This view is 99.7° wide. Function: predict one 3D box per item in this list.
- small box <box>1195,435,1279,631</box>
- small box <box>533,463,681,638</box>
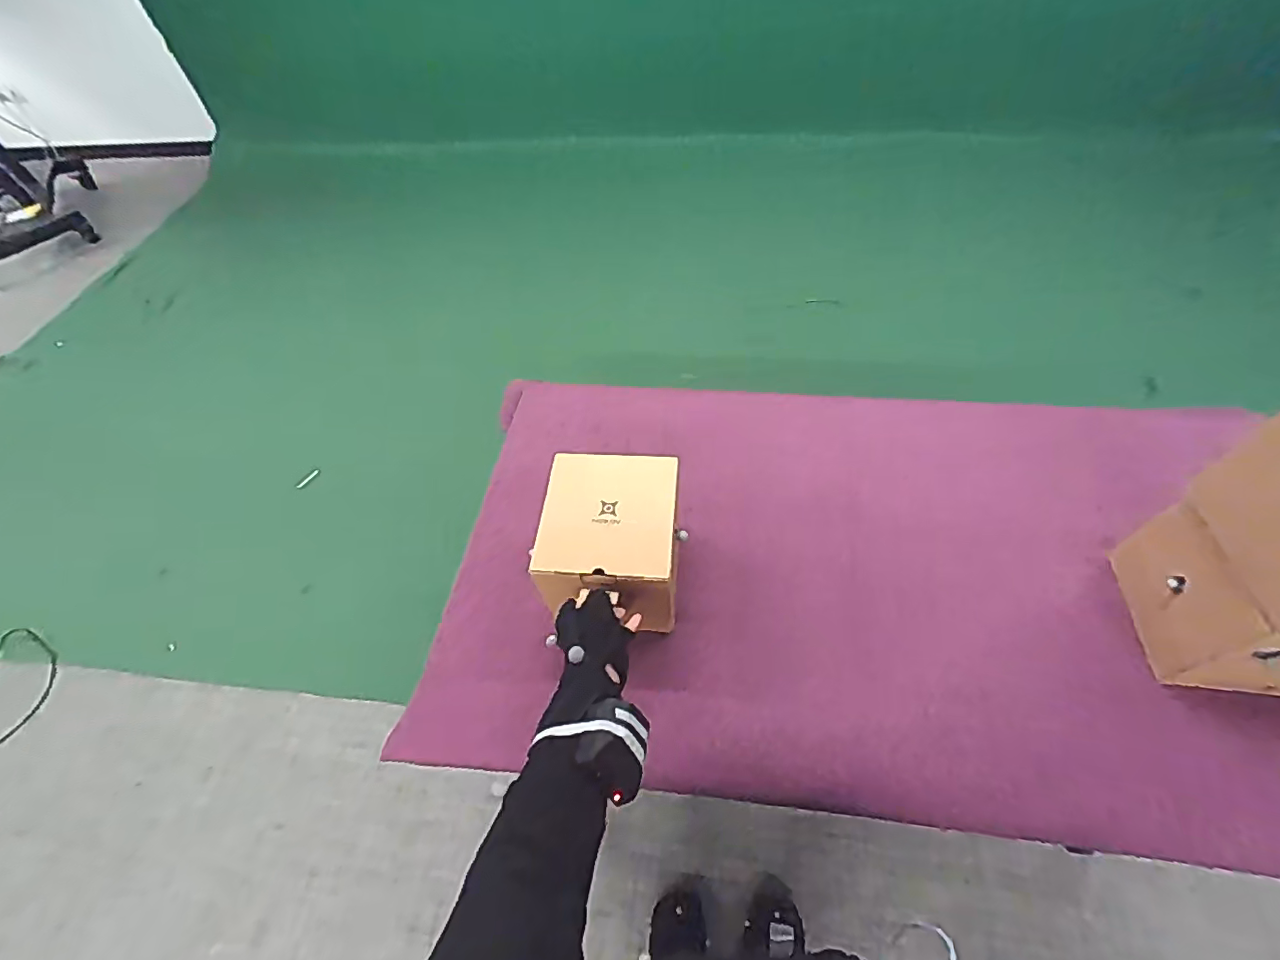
[{"bbox_3d":[0.689,0.040,0.495,0.168,0.176,0.179,0,54,7],"label":"small box"},{"bbox_3d":[-0.032,0.097,0.731,0.168,0.176,0.179,2,56,6],"label":"small box"}]
